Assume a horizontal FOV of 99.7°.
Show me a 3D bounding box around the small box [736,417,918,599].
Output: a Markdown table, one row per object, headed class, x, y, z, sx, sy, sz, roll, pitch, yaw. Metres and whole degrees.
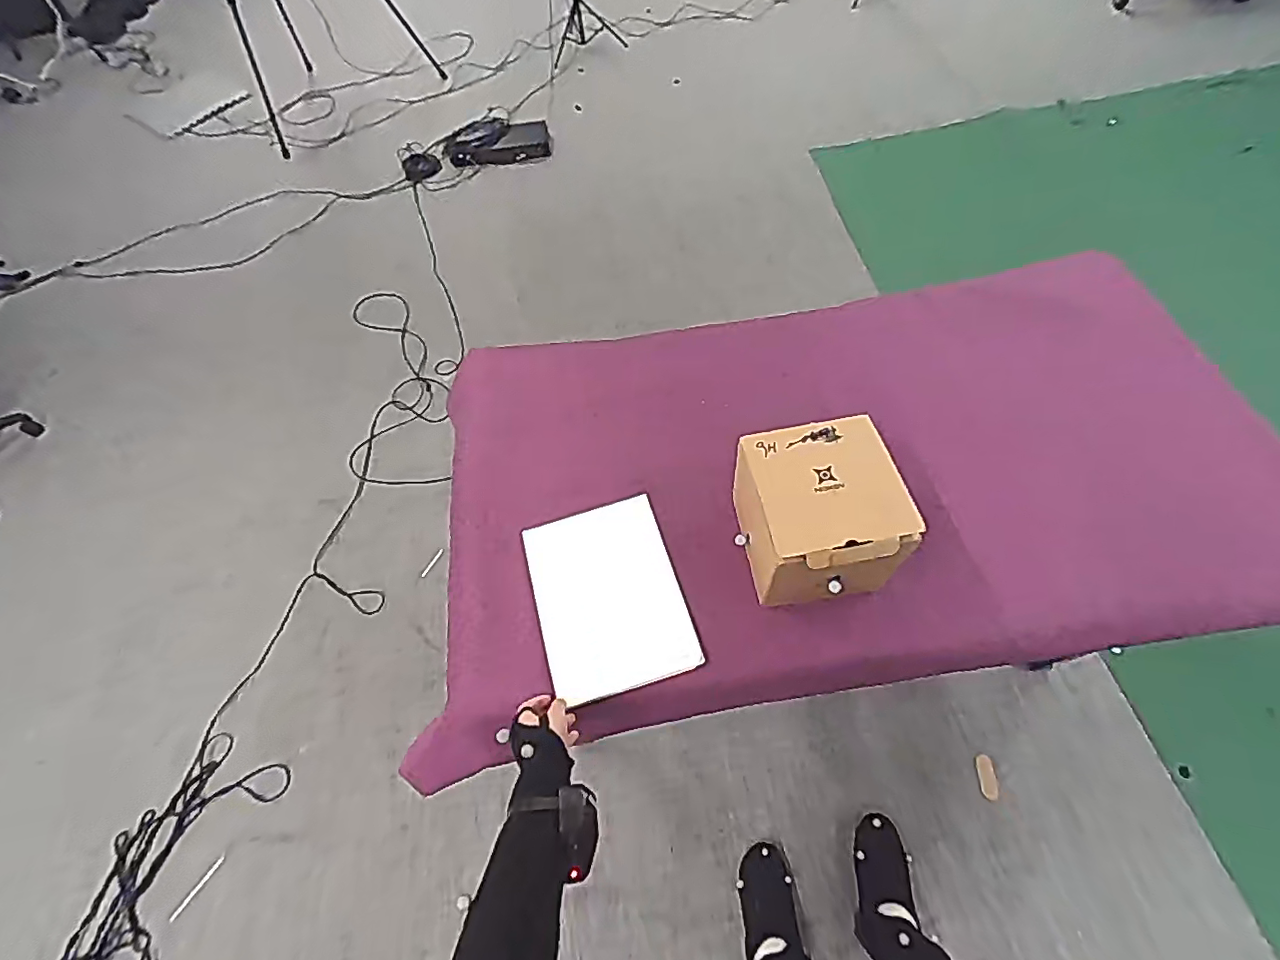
| class | x | y | z | sx | sy | sz | roll | pitch | yaw |
| --- | --- | --- | --- | --- | --- | --- | --- | --- | --- |
| small box | 0.226 | 0.047 | 0.708 | 0.168 | 0.176 | 0.179 | -9 | 60 | 1 |
